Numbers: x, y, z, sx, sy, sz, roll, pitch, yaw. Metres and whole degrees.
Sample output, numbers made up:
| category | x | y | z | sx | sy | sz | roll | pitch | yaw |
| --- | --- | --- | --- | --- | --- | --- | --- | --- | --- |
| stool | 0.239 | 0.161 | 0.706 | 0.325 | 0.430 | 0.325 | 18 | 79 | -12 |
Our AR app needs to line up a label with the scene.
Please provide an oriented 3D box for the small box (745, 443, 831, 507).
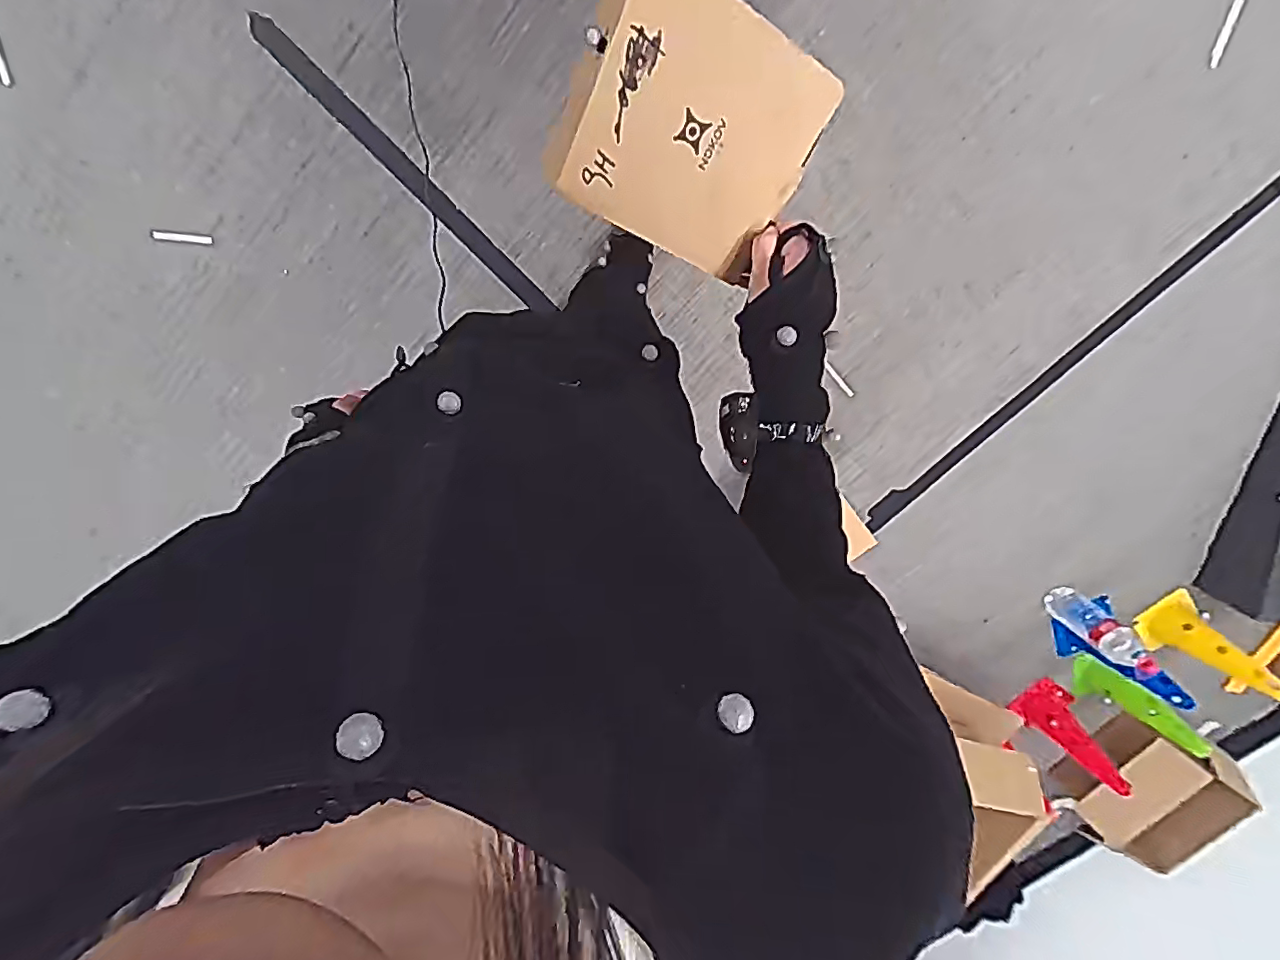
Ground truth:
| category | x | y | z | sx | sy | sz | roll | pitch | yaw |
| --- | --- | --- | --- | --- | --- | --- | --- | --- | --- |
| small box | 0.412 | 0.028 | 1.460 | 0.179 | 0.176 | 0.168 | -37 | 112 | 11 |

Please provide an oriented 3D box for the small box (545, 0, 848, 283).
| category | x | y | z | sx | sy | sz | roll | pitch | yaw |
| --- | --- | --- | --- | --- | --- | --- | --- | --- | --- |
| small box | 0.031 | -0.303 | 0.469 | 0.179 | 0.176 | 0.168 | 17 | 118 | -26 |

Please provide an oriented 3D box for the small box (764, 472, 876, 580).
| category | x | y | z | sx | sy | sz | roll | pitch | yaw |
| --- | --- | --- | --- | --- | --- | --- | --- | --- | --- |
| small box | 0.428 | 0.101 | 1.315 | 0.168 | 0.176 | 0.179 | -38 | 113 | 13 |
